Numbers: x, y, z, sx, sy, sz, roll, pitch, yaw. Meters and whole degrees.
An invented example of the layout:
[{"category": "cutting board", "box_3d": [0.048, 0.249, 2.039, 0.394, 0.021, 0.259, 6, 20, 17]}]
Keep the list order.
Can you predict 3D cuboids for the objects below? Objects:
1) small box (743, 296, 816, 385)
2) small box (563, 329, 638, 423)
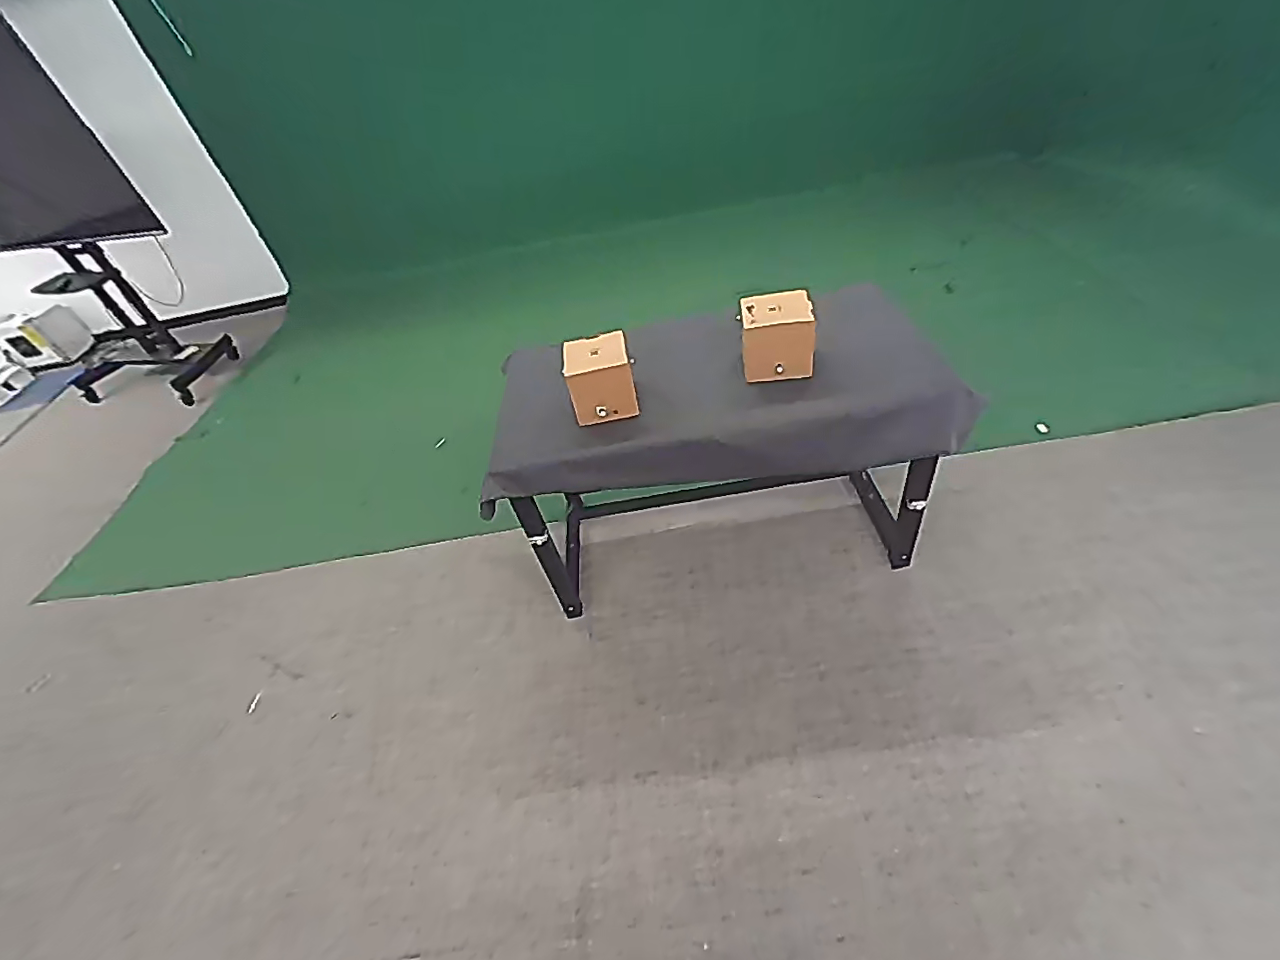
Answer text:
[{"category": "small box", "box_3d": [0.370, -0.375, 1.460, 0.179, 0.176, 0.168, -3, 44, 10]}, {"category": "small box", "box_3d": [-0.103, -0.277, 1.450, 0.168, 0.176, 0.179, -11, 43, 5]}]
